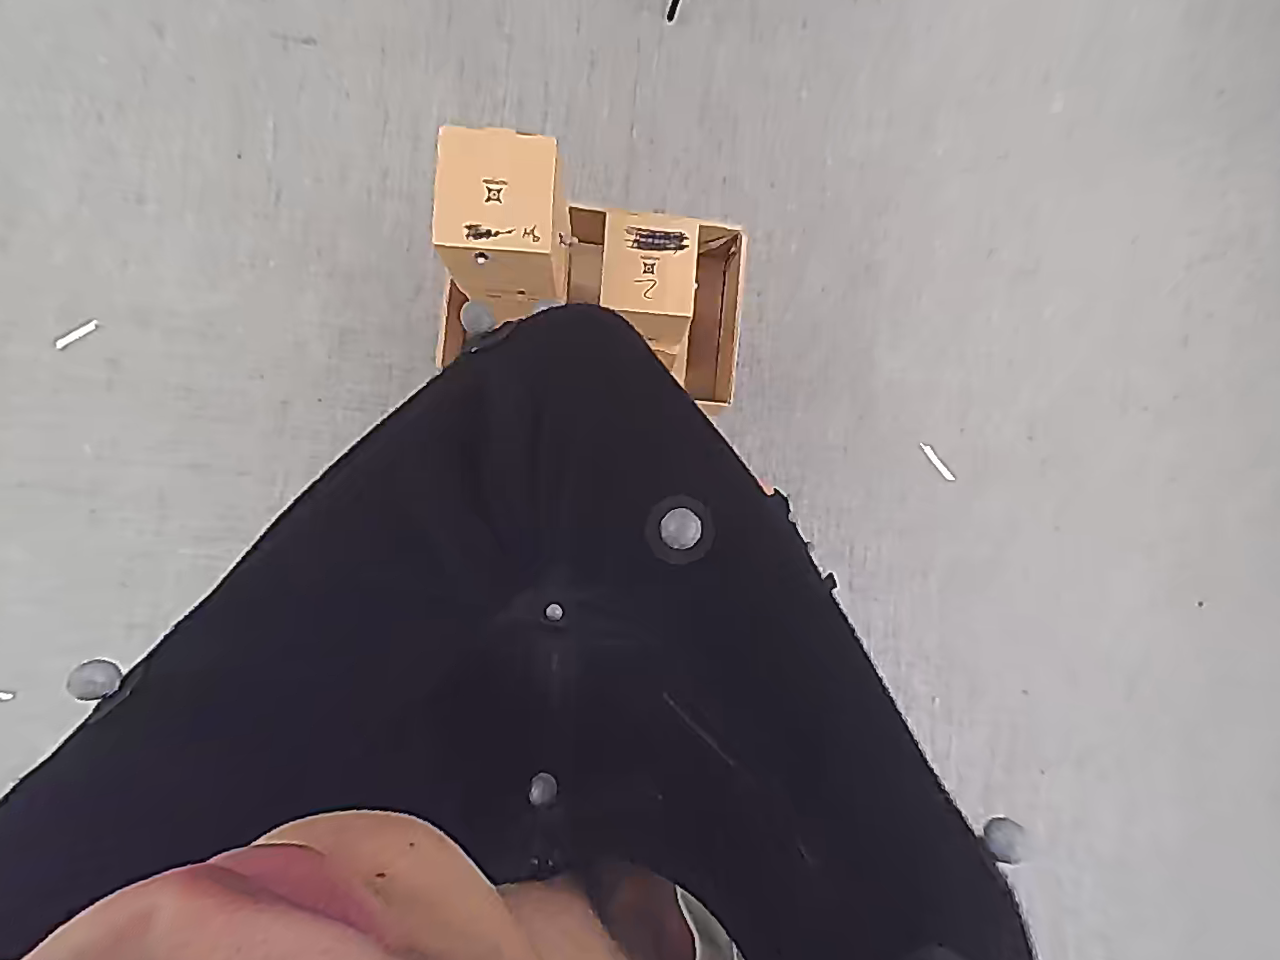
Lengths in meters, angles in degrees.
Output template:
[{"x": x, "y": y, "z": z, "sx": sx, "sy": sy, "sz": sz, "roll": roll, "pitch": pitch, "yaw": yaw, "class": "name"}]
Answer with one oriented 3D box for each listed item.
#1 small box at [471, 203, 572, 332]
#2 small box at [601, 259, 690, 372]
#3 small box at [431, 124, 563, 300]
[{"x": -0.215, "y": -0.392, "z": 1.000, "sx": 0.168, "sy": 0.176, "sz": 0.179, "roll": 3, "pitch": 87, "yaw": -4, "class": "small box"}, {"x": 0.006, "y": -0.350, "z": 1.182, "sx": 0.168, "sy": 0.176, "sz": 0.179, "roll": 8, "pitch": 87, "yaw": -3, "class": "small box"}, {"x": -0.209, "y": -0.402, "z": 0.836, "sx": 0.168, "sy": 0.176, "sz": 0.179, "roll": 3, "pitch": 86, "yaw": -4, "class": "small box"}]
